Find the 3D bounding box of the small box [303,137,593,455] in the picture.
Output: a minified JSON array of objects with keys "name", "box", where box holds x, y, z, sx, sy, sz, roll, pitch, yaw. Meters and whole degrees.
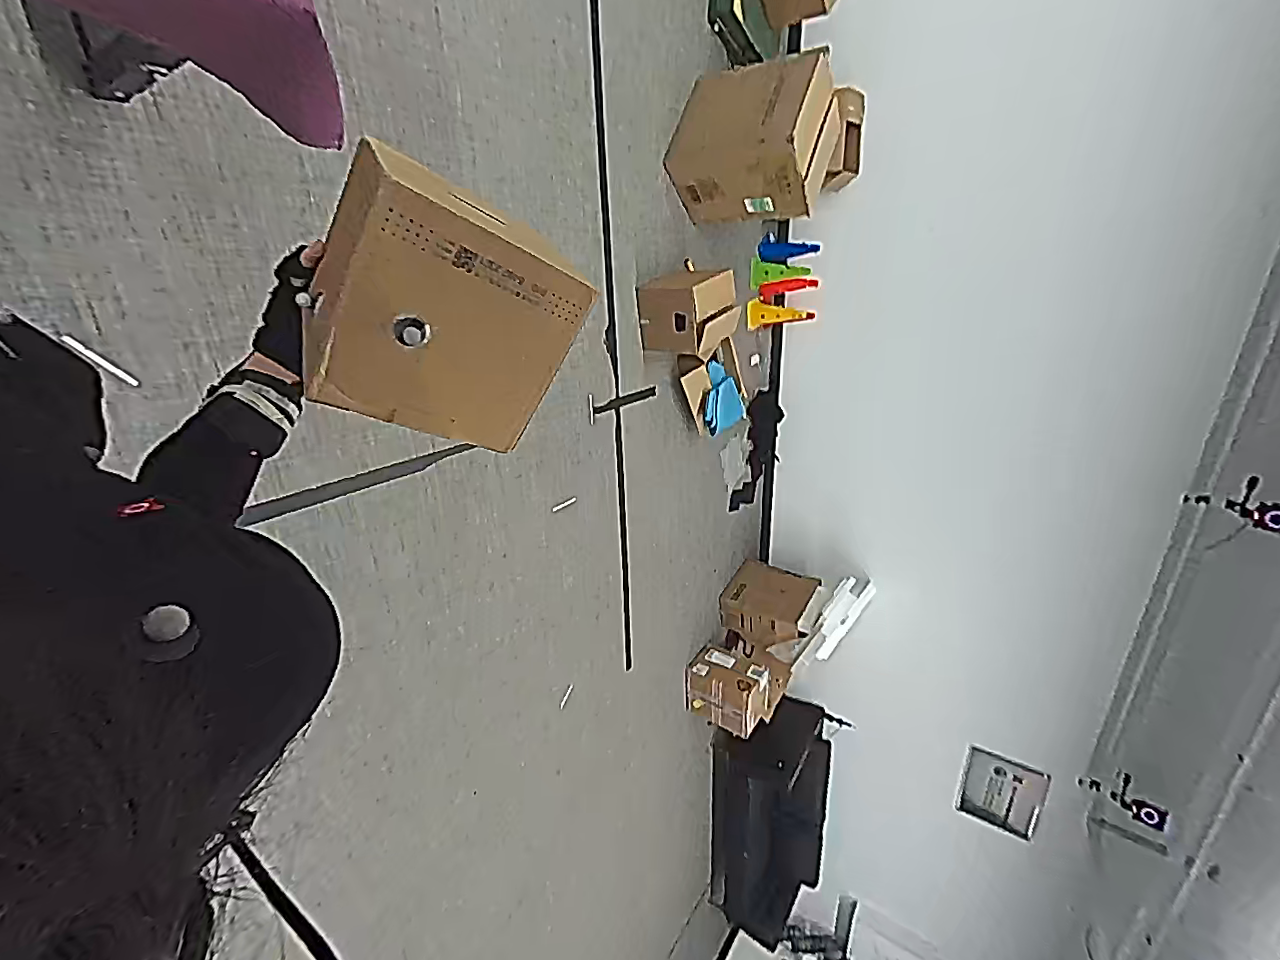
[{"name":"small box","box":[-0.163,-0.152,0.456,0.168,0.179,0.176,18,116,-41]}]
